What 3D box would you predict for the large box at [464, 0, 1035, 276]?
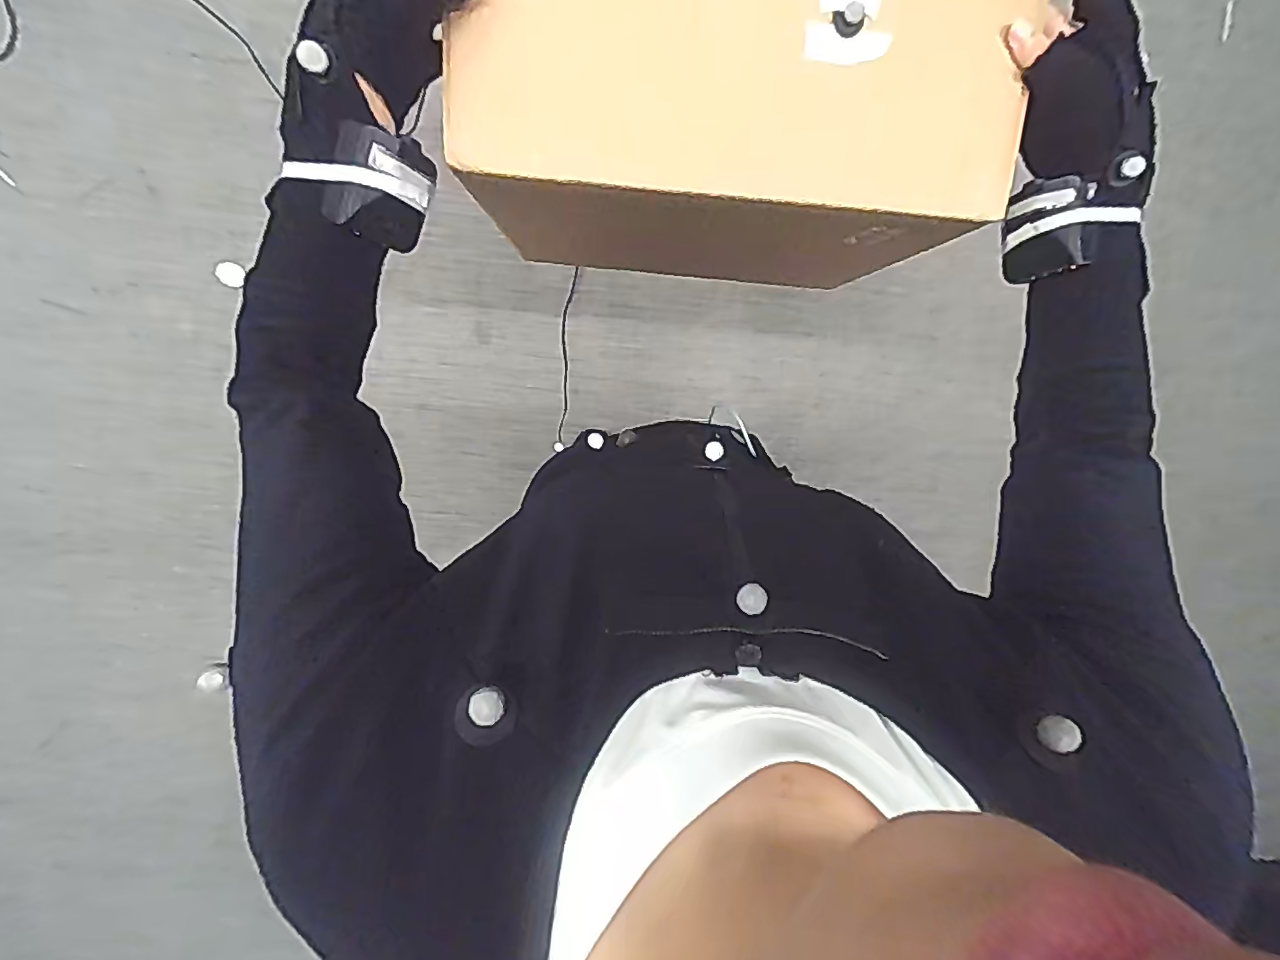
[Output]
[{"bbox_3d":[0.071,-0.392,0.511,0.408,0.320,0.320,3,101,-4],"label":"large box"}]
